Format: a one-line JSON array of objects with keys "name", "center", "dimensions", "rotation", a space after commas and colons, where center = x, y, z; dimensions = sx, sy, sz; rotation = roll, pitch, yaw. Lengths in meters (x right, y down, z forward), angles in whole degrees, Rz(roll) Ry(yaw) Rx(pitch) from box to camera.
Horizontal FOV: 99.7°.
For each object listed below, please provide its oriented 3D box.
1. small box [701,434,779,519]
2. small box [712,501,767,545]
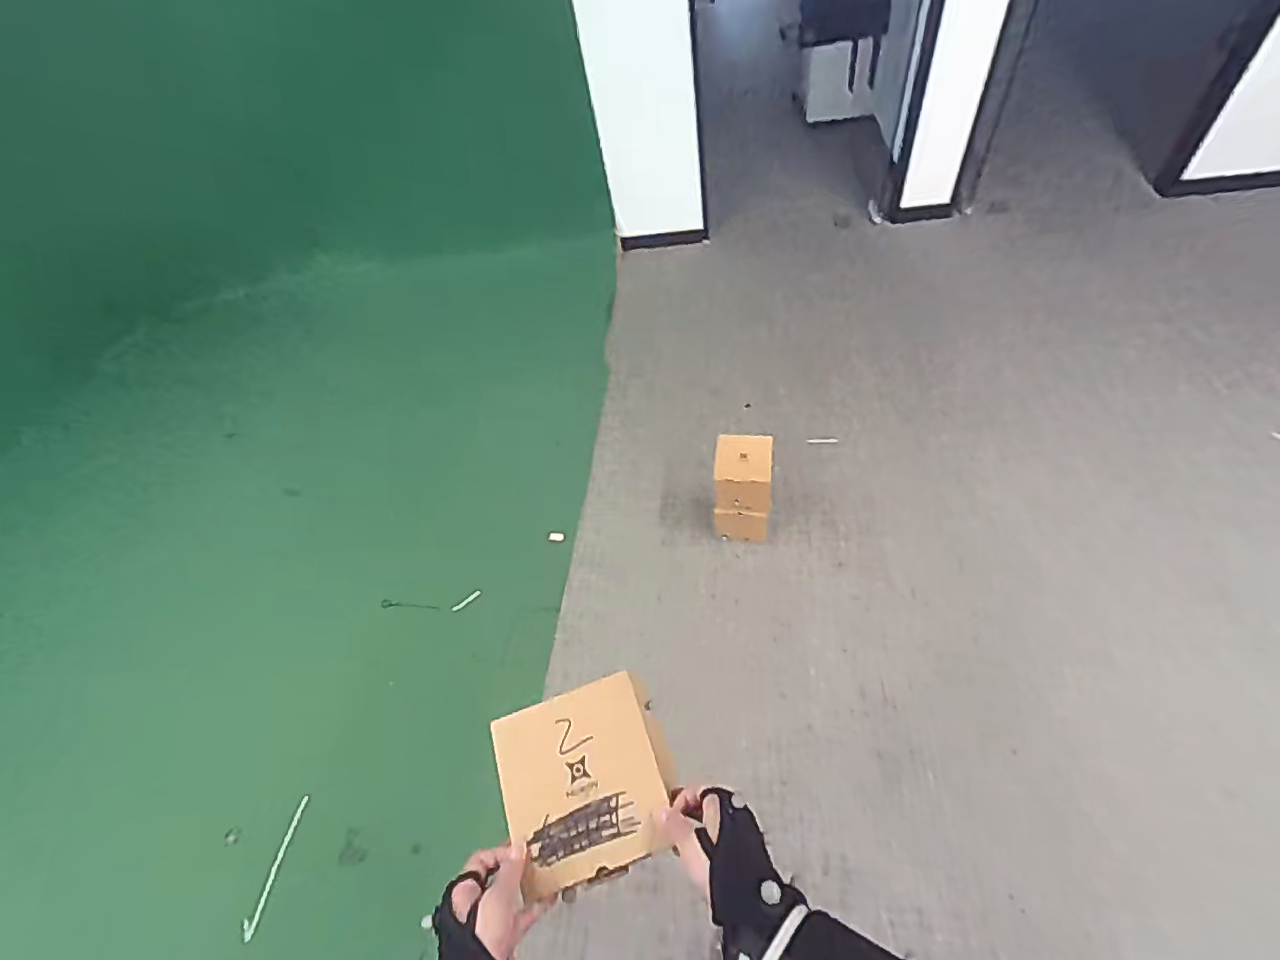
[{"name": "small box", "center": [0.312, -0.007, 1.682], "dimensions": [0.179, 0.176, 0.168], "rotation": [32, 67, 30]}, {"name": "small box", "center": [0.333, 0.100, 1.792], "dimensions": [0.168, 0.176, 0.179], "rotation": [4, 53, 13]}]
